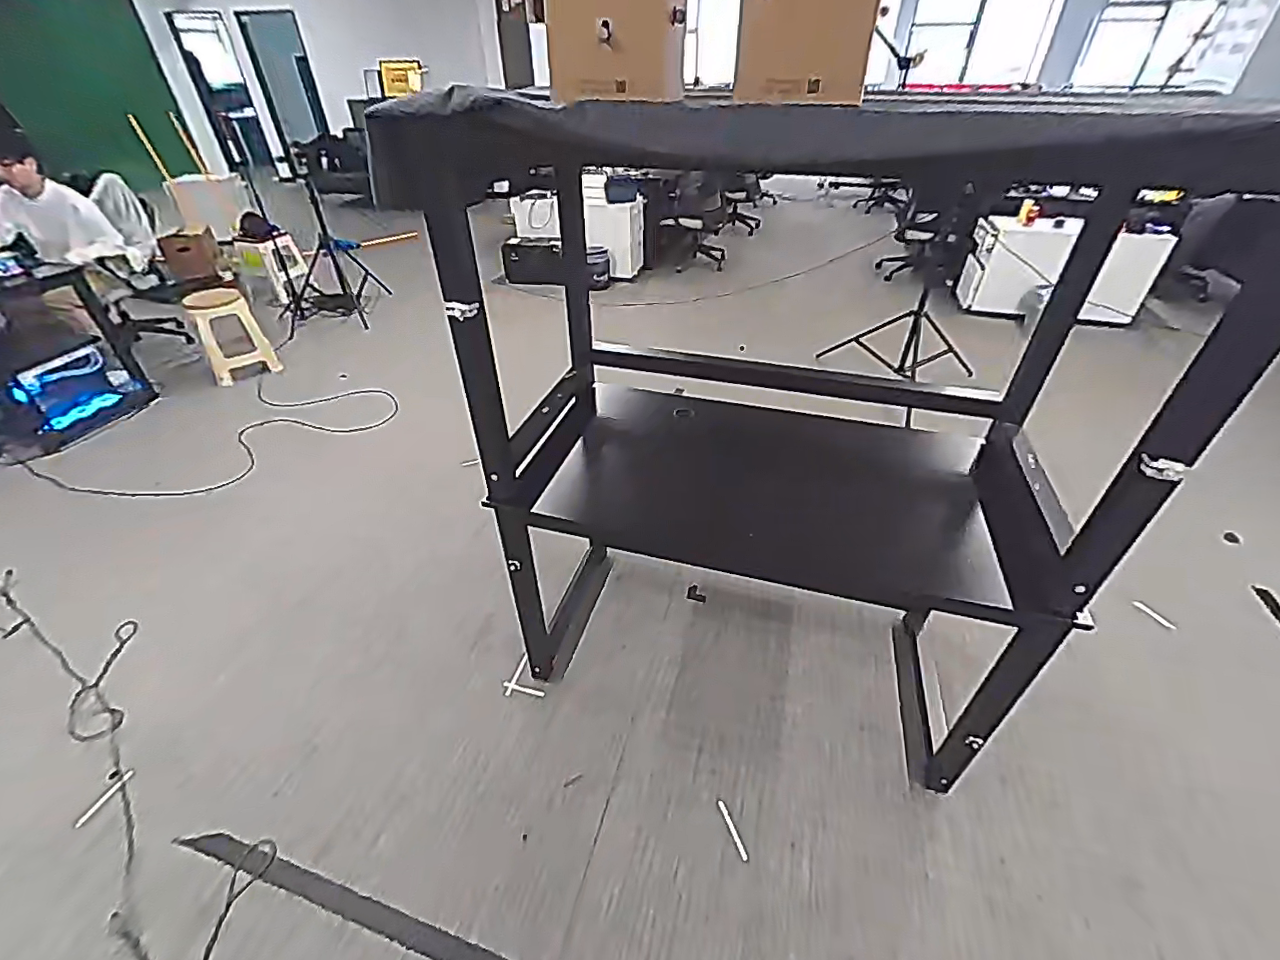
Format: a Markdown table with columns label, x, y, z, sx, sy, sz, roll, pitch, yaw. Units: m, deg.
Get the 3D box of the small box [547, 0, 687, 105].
| label | x | y | z | sx | sy | sz | roll | pitch | yaw |
| --- | --- | --- | --- | --- | --- | --- | --- | --- | --- |
| small box | -0.025 | -0.638 | 0.768 | 0.168 | 0.176 | 0.179 | 8 | 38 | 9 |
